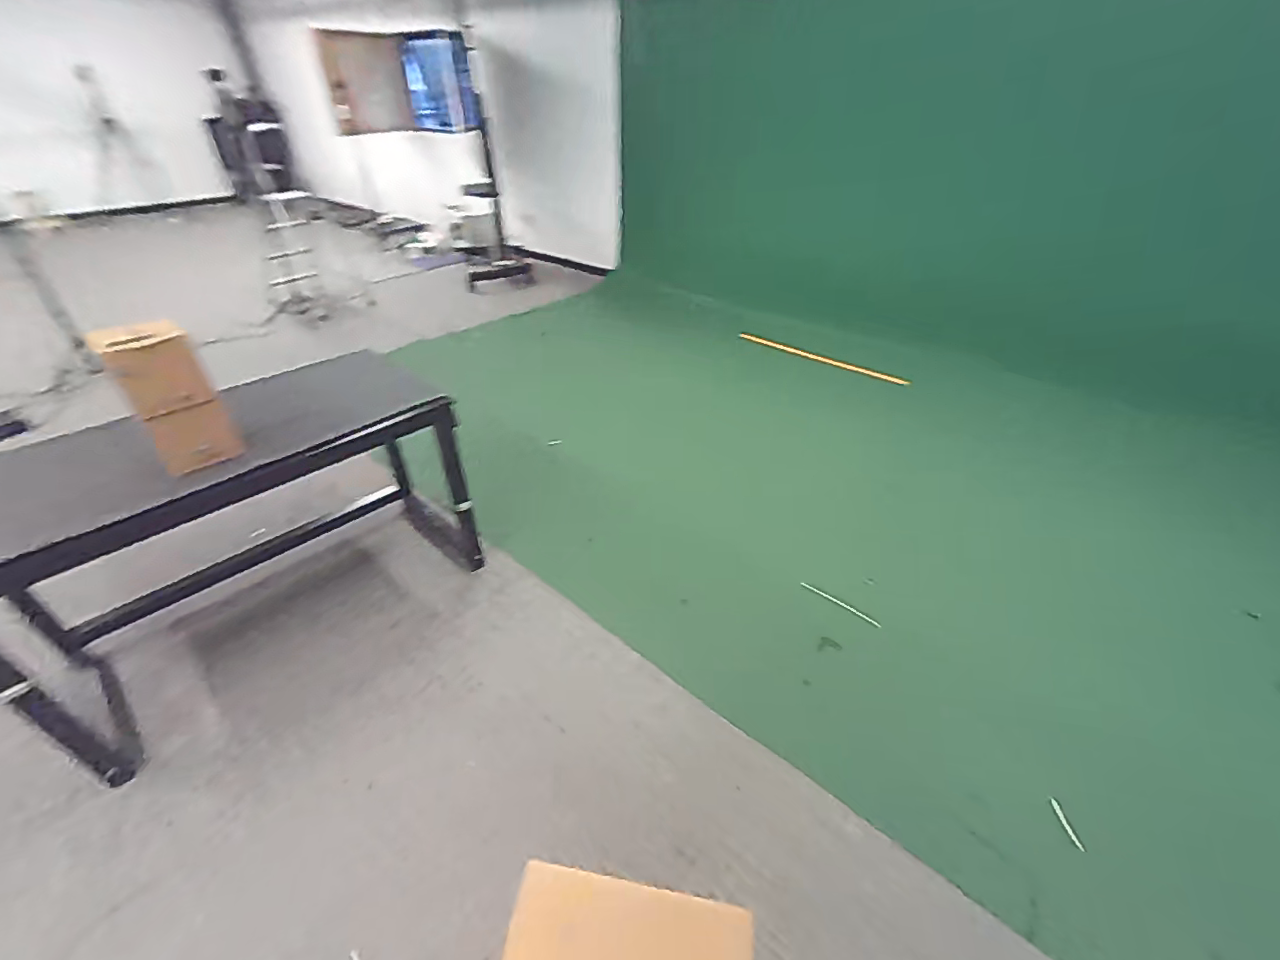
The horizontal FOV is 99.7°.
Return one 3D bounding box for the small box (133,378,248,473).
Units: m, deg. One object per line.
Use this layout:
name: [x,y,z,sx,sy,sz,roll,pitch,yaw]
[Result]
small box: [-1.166,-0.143,1.407,0.179,0.176,0.168,30,45,35]
